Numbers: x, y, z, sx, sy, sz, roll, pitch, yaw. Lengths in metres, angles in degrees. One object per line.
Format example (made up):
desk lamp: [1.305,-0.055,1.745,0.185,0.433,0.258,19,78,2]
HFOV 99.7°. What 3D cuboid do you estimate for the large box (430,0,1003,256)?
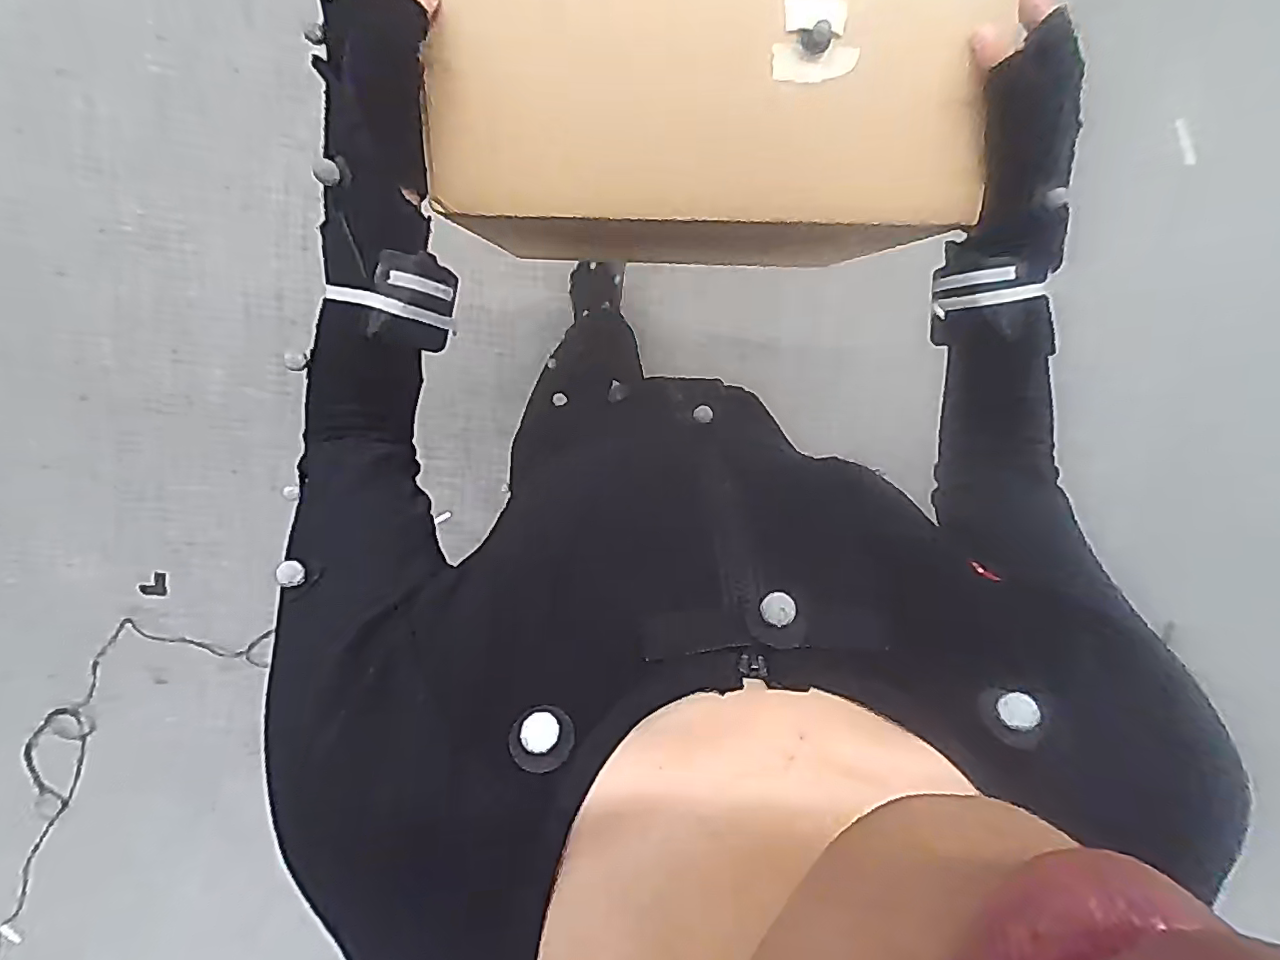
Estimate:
large box: [0.048,-0.395,0.506,0.408,0.320,0.320,0,107,-3]
